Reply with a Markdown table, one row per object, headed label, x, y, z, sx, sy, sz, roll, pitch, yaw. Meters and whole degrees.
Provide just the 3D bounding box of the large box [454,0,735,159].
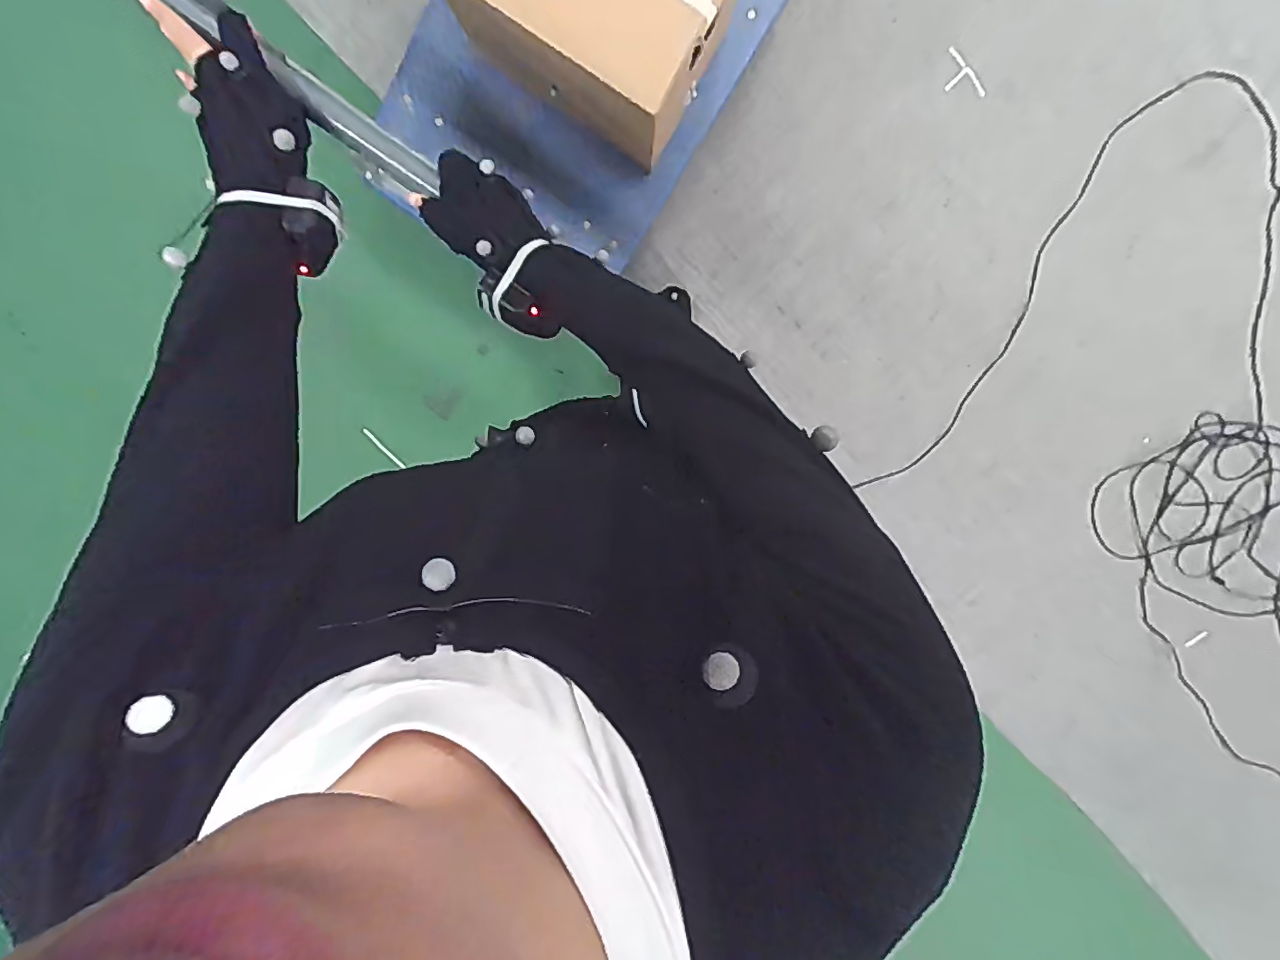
| label | x | y | z | sx | sy | sz | roll | pitch | yaw |
| --- | --- | --- | --- | --- | --- | --- | --- | --- | --- |
| large box | -0.065 | -0.840 | 0.925 | 0.408 | 0.320 | 0.320 | 30 | 103 | -7 |
